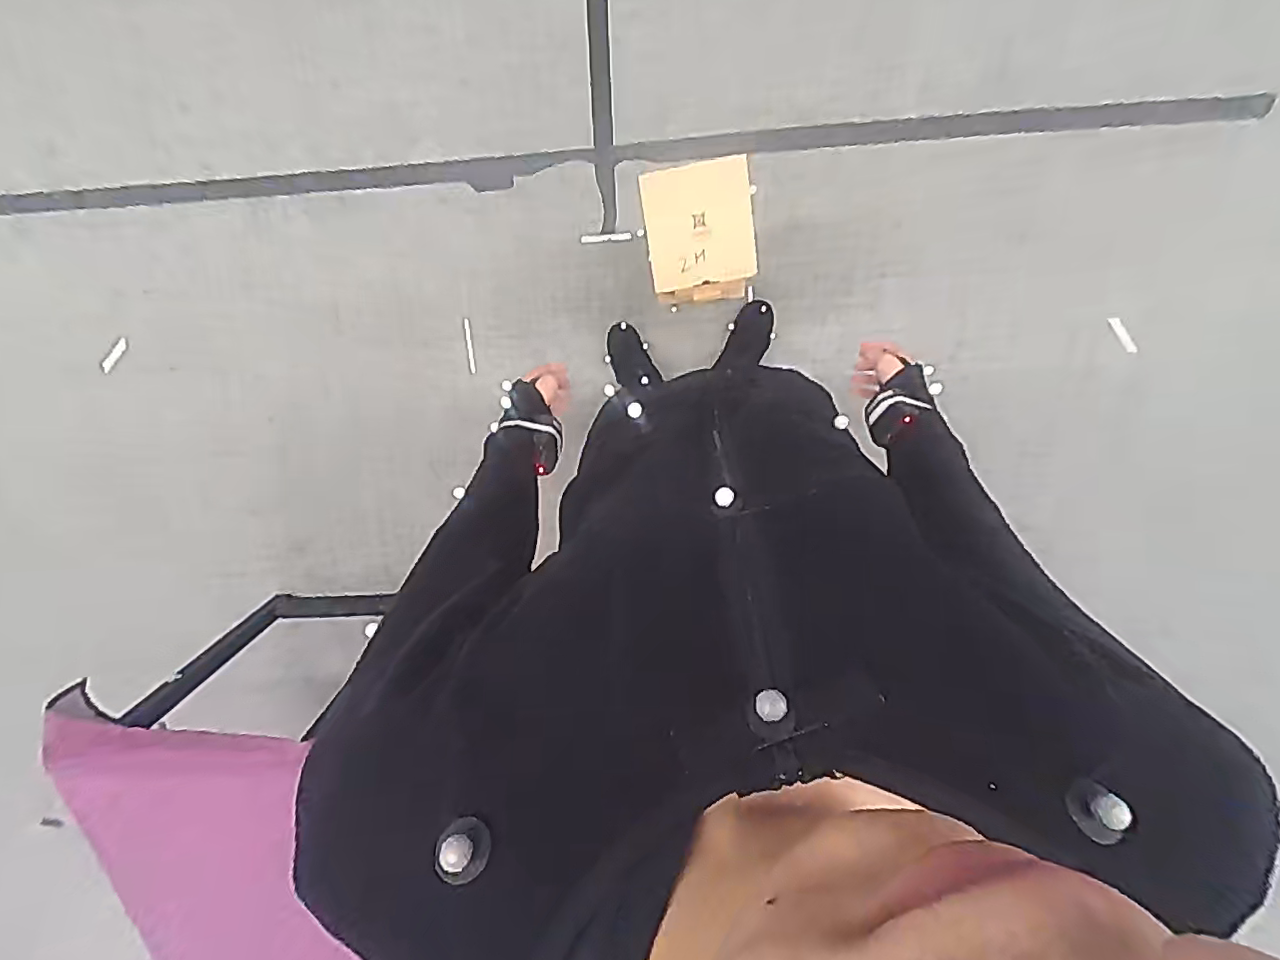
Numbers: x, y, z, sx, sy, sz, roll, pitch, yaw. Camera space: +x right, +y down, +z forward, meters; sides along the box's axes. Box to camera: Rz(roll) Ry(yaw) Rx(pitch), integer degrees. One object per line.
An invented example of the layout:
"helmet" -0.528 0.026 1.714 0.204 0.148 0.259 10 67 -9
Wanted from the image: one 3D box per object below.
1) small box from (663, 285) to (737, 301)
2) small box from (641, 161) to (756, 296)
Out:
"small box" 0.133 -0.505 1.233 0.168 0.176 0.179 2 111 2
"small box" 0.095 -0.414 0.918 0.168 0.176 0.179 -8 109 6
